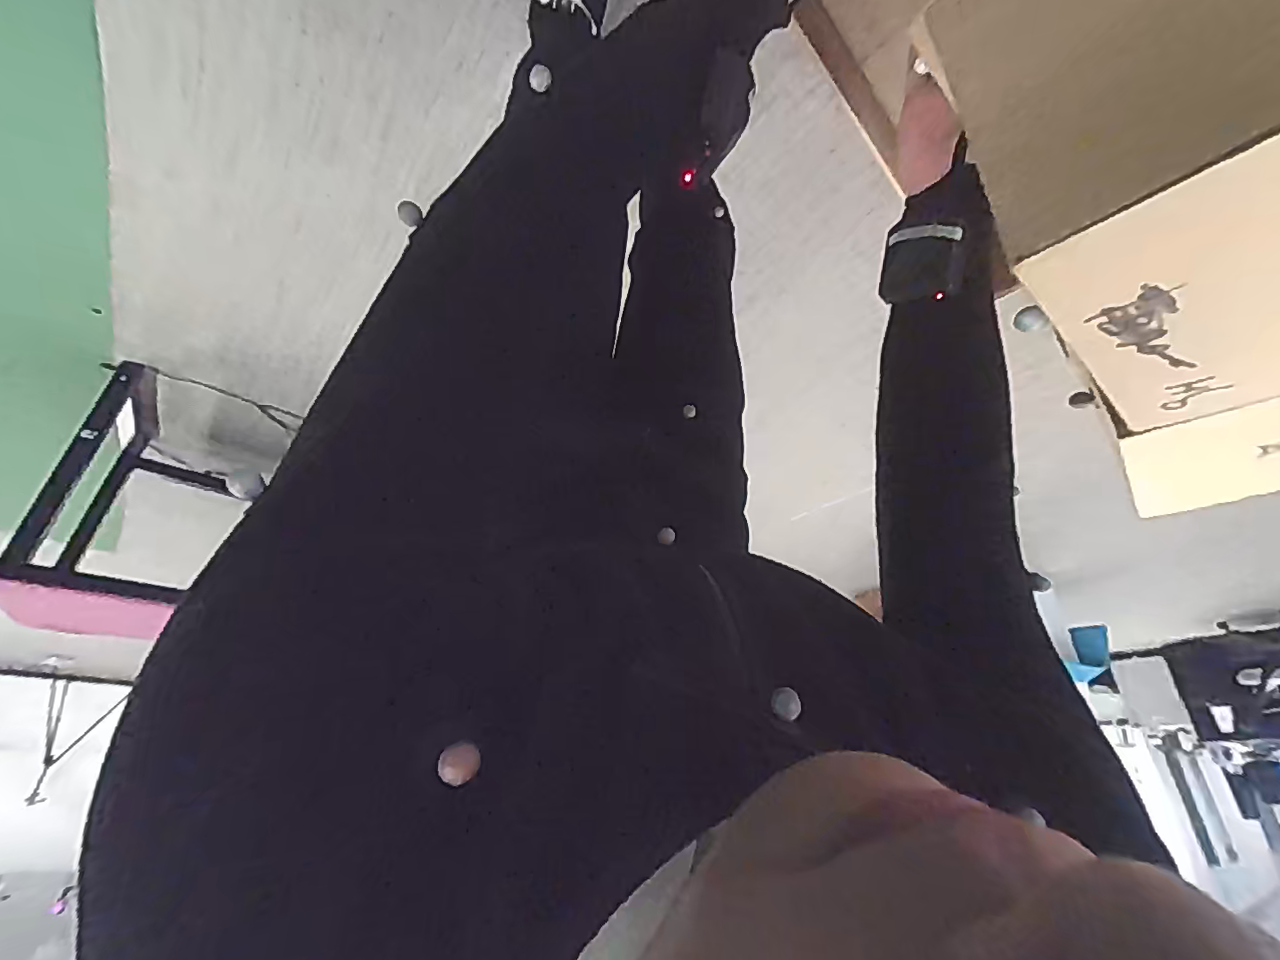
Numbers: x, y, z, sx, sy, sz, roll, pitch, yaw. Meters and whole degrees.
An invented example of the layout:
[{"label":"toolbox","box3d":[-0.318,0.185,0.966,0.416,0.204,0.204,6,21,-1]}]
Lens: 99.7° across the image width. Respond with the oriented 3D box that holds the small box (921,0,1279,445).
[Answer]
[{"label":"small box","box3d":[0.243,-0.143,0.210,0.168,0.176,0.179,23,148,-33]}]
